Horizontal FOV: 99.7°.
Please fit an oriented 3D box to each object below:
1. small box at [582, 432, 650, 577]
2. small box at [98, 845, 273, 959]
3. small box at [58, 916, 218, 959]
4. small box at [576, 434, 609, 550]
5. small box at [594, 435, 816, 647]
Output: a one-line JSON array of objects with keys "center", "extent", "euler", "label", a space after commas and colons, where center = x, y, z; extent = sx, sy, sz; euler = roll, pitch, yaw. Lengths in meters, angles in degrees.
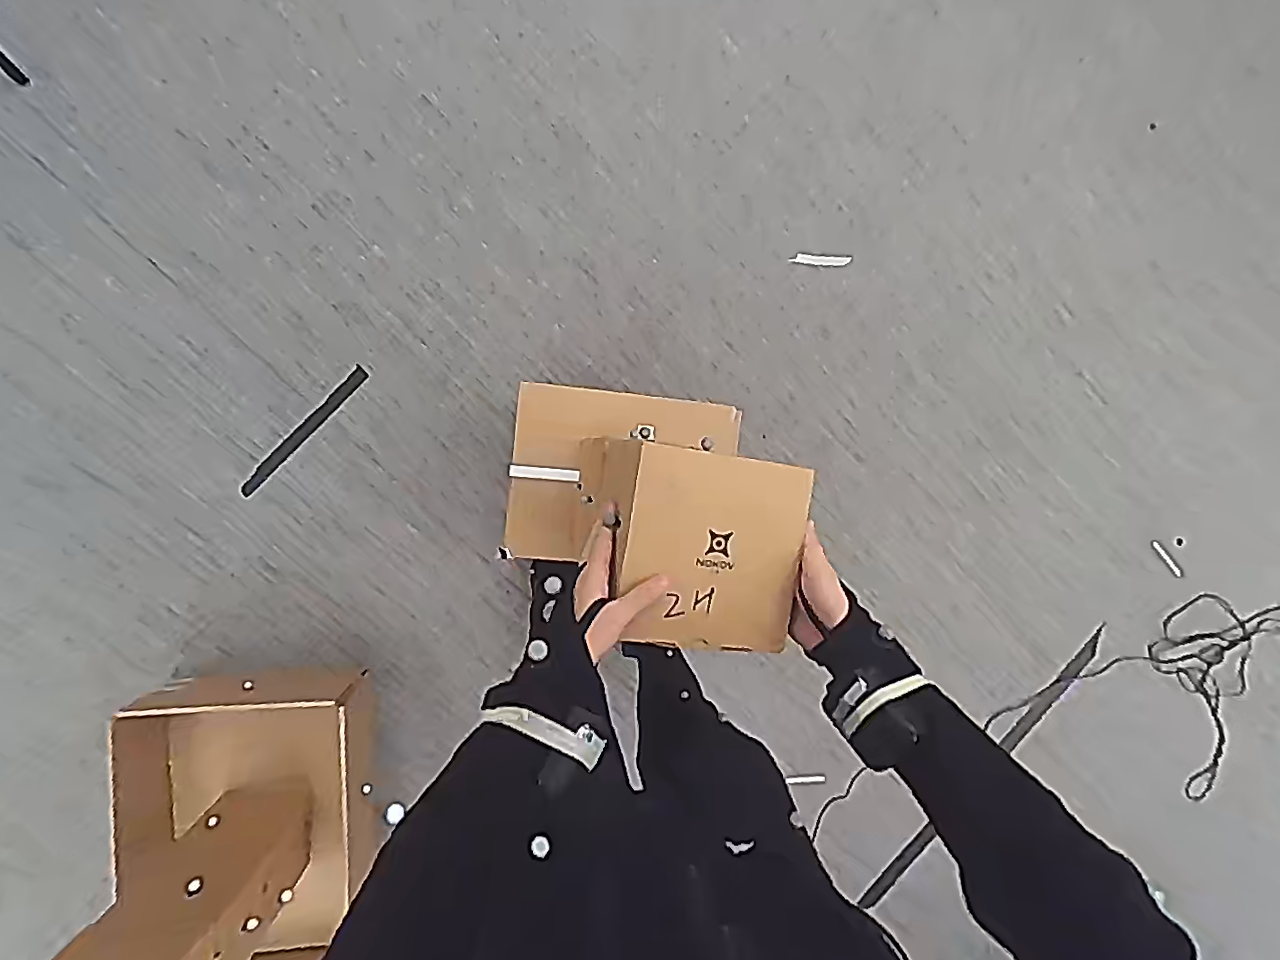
[{"center": [0.015, 0.036, 0.731], "extent": [0.168, 0.176, 0.179], "euler": [8, 93, -9], "label": "small box"}, {"center": [-0.752, 0.749, 0.909], "extent": [0.179, 0.176, 0.168], "euler": [5, 92, -9], "label": "small box"}, {"center": [-0.734, 0.750, 0.747], "extent": [0.179, 0.176, 0.168], "euler": [4, 92, -9], "label": "small box"}, {"center": [-0.014, 0.021, 0.890], "extent": [0.168, 0.176, 0.179], "euler": [6, 92, -10], "label": "small box"}, {"center": [0.052, 0.052, 0.558], "extent": [0.168, 0.176, 0.179], "euler": [9, 93, -13], "label": "small box"}]
